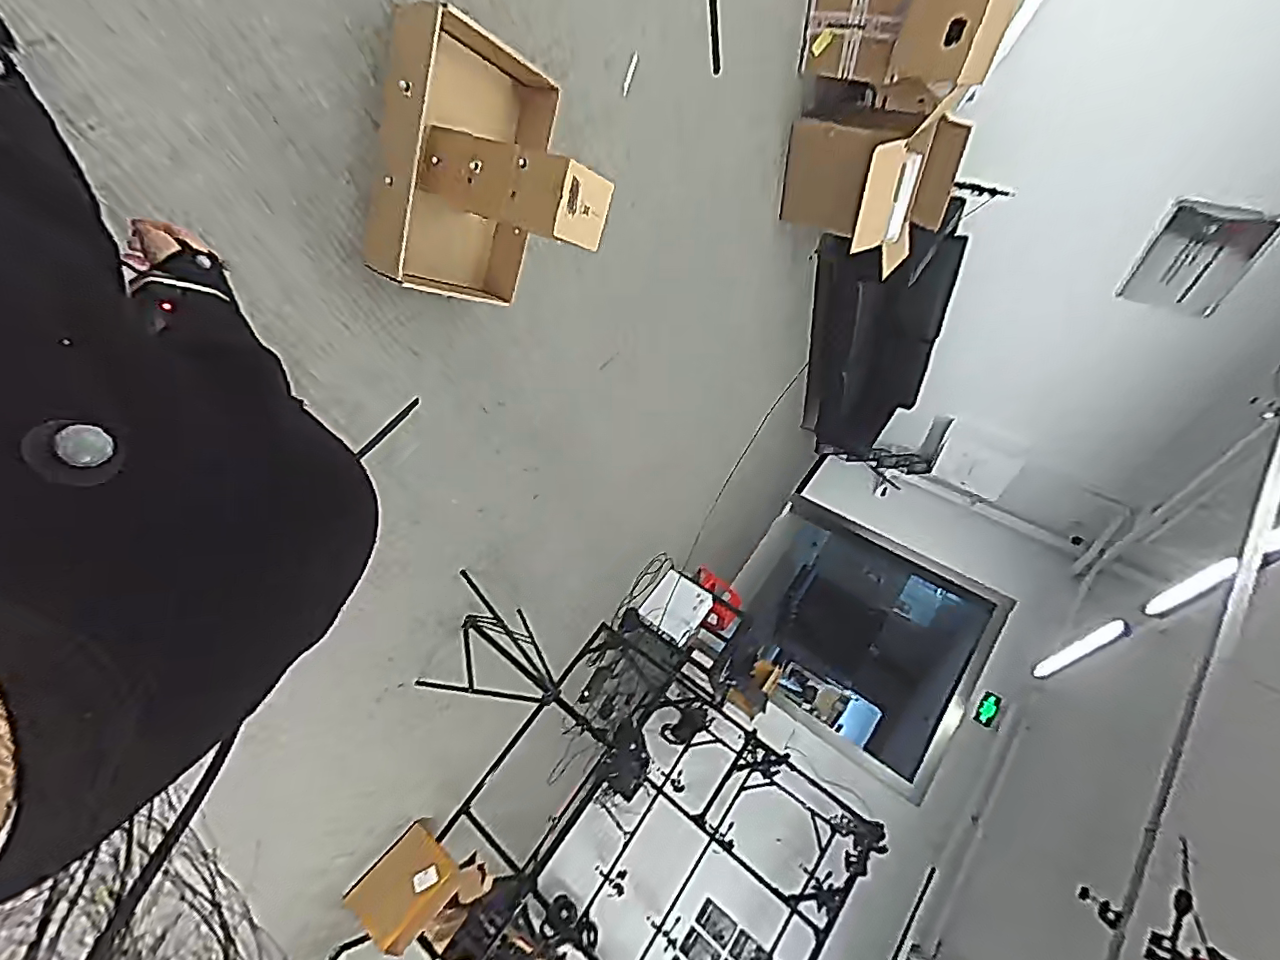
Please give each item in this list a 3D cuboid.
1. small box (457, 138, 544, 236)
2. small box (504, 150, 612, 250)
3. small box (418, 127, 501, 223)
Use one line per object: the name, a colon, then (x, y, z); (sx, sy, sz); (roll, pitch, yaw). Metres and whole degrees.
small box: (-0.335, -0.751, 1.388); (0.179, 0.176, 0.168); (-9, 123, -57)
small box: (-0.203, -0.682, 1.318); (0.179, 0.176, 0.168); (-13, 126, -58)
small box: (-0.462, -0.822, 1.459); (0.179, 0.176, 0.168); (-8, 122, -58)
